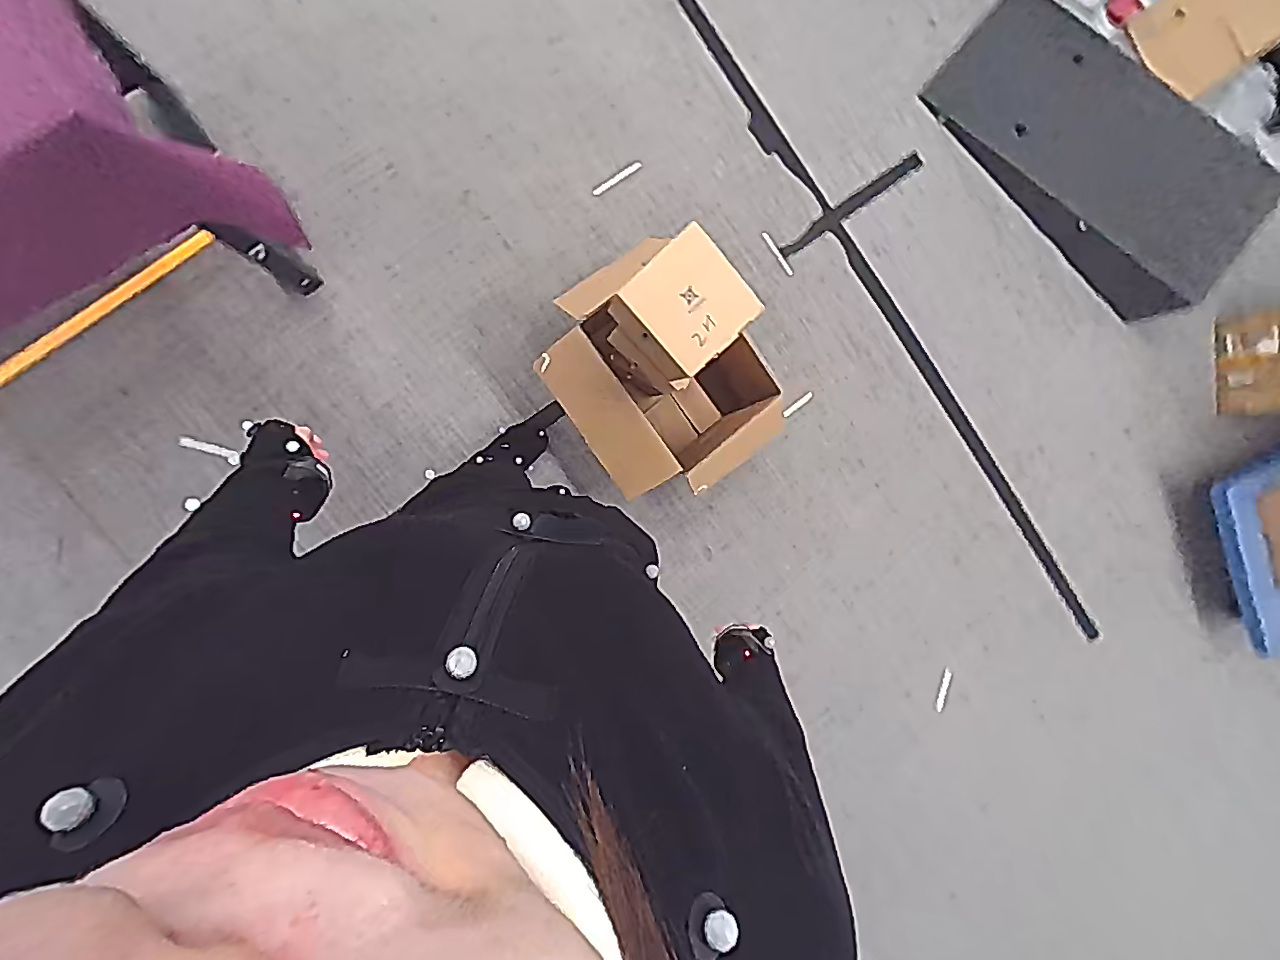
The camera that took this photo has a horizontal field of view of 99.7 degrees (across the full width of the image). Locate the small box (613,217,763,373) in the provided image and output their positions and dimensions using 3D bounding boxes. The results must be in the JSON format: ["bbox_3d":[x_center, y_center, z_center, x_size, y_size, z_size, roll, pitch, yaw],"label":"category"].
[{"bbox_3d":[0.069,-0.296,0.914,0.168,0.176,0.179,-42,102,0],"label":"small box"}]

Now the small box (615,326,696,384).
[{"bbox_3d":[0.057,-0.331,1.243,0.179,0.176,0.168,33,92,-12],"label":"small box"}]
